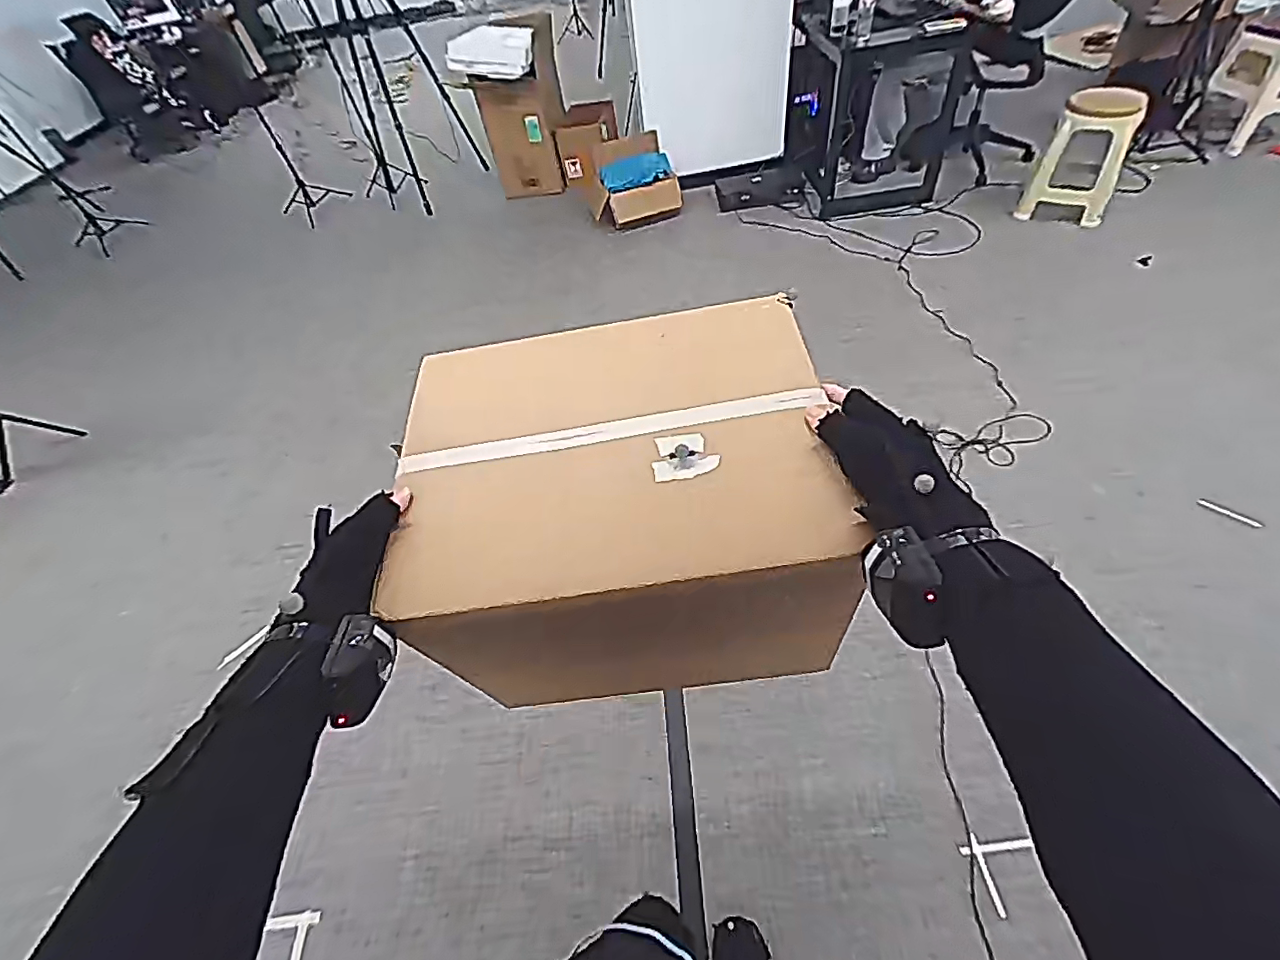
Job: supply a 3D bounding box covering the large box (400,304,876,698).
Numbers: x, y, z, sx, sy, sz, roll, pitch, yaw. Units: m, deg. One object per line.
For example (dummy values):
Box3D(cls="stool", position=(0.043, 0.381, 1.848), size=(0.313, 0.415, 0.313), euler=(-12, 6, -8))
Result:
Box3D(cls="large box", position=(-0.002, 0.042, 0.644), size=(0.408, 0.320, 0.320), euler=(-8, 55, 3))
